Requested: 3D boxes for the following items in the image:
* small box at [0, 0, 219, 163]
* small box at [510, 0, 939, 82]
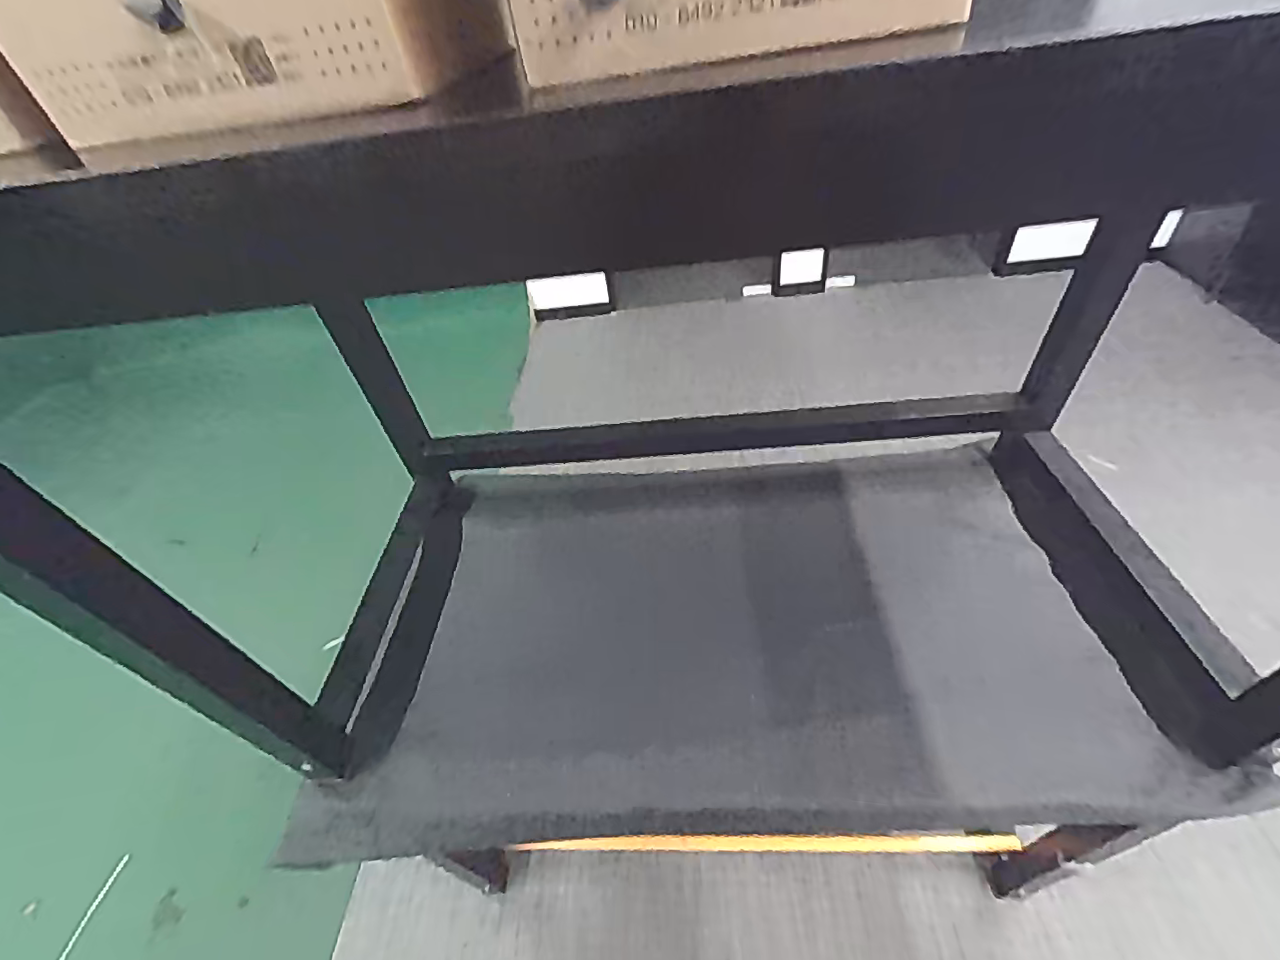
[{"bbox_3d":[-0.370,-0.265,0.268,0.168,0.176,0.179,-3,44,5],"label":"small box"},{"bbox_3d":[0.024,-0.275,0.212,0.168,0.176,0.179,-5,43,5],"label":"small box"}]
